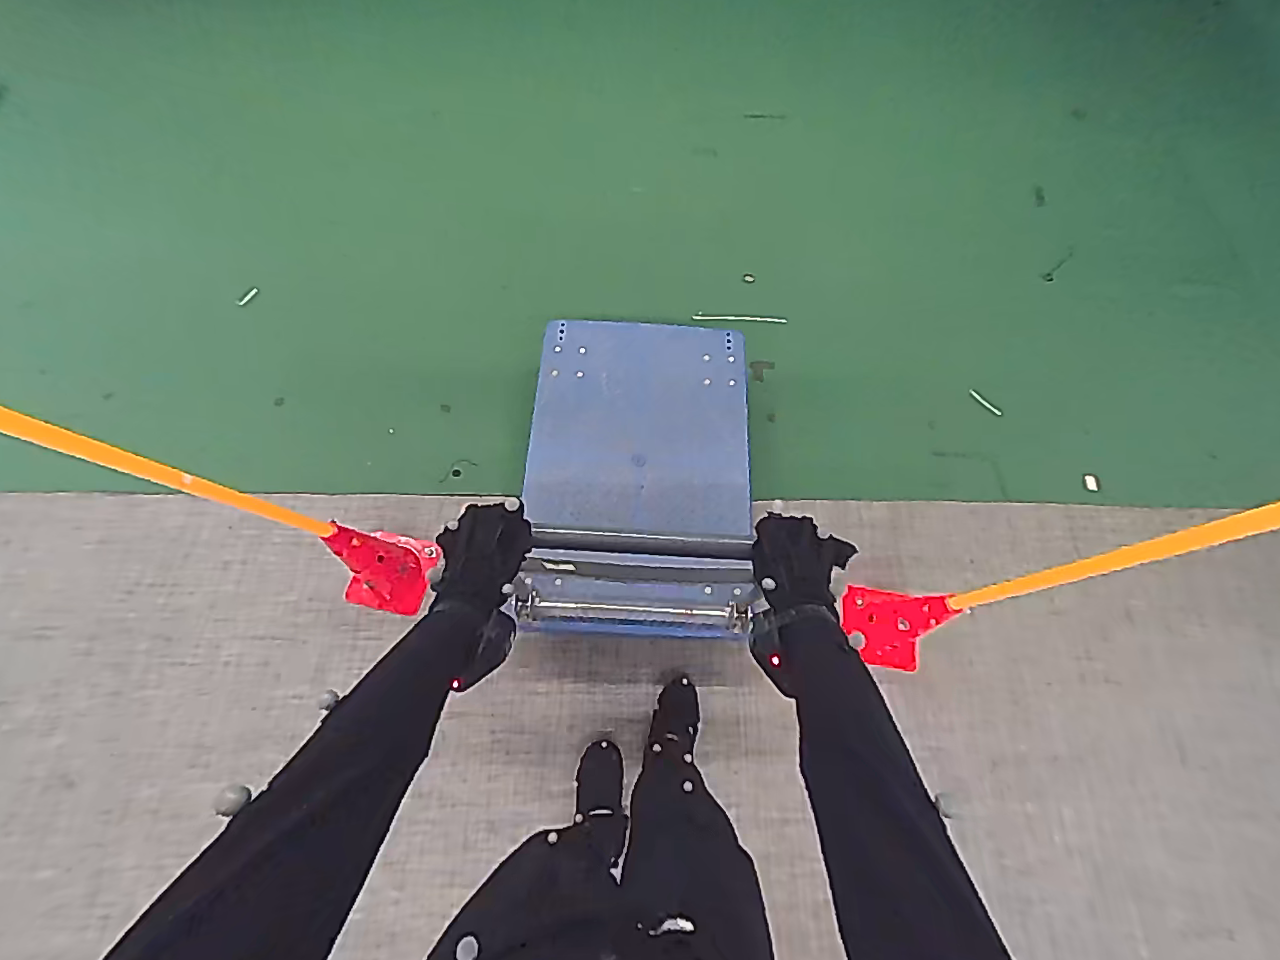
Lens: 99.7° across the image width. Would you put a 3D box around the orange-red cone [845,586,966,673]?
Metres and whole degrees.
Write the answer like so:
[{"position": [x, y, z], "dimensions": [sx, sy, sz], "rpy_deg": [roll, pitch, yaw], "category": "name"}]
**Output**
[{"position": [0.640, 0.322, 1.254], "dimensions": [0.198, 0.360, 0.199], "rpy_deg": [11, 68, 3], "category": "orange-red cone"}]
